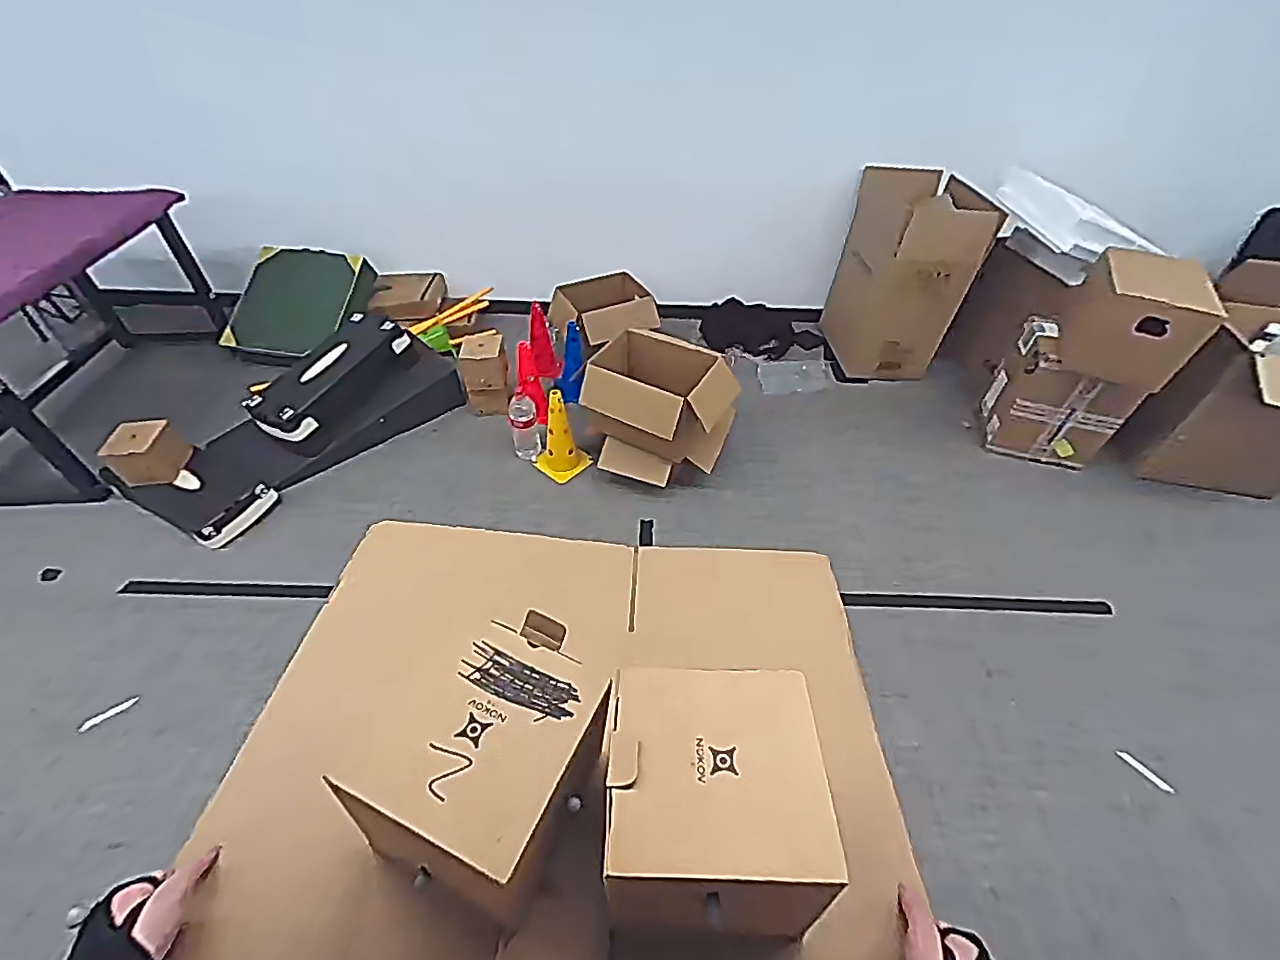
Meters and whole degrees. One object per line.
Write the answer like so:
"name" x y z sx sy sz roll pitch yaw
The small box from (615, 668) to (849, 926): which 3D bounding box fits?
"small box" 0.071 0.297 0.509 0.179 0.176 0.168 0 40 1
